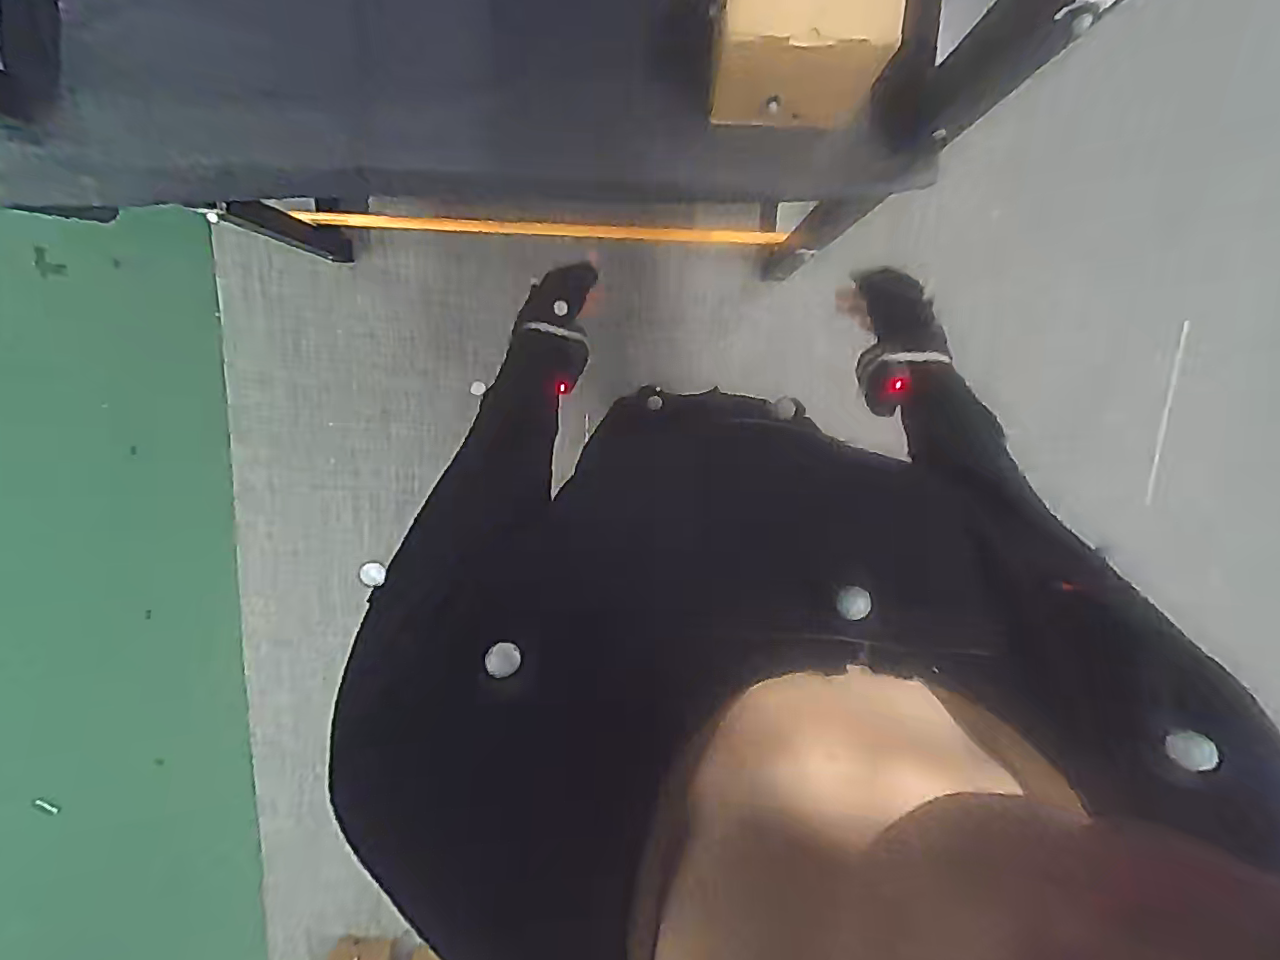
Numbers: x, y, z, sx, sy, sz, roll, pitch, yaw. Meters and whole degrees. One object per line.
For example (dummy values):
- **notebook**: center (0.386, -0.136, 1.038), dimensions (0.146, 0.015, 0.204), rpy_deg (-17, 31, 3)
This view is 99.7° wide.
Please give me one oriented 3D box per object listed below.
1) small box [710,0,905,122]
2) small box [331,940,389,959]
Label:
- **small box**: center (0.166, -0.510, 0.562), dimensions (0.168, 0.176, 0.179), rpy_deg (3, 100, 2)
- **small box**: center (-0.911, 1.609, 1.707), dimensions (0.168, 0.176, 0.179), rpy_deg (5, 100, 2)
